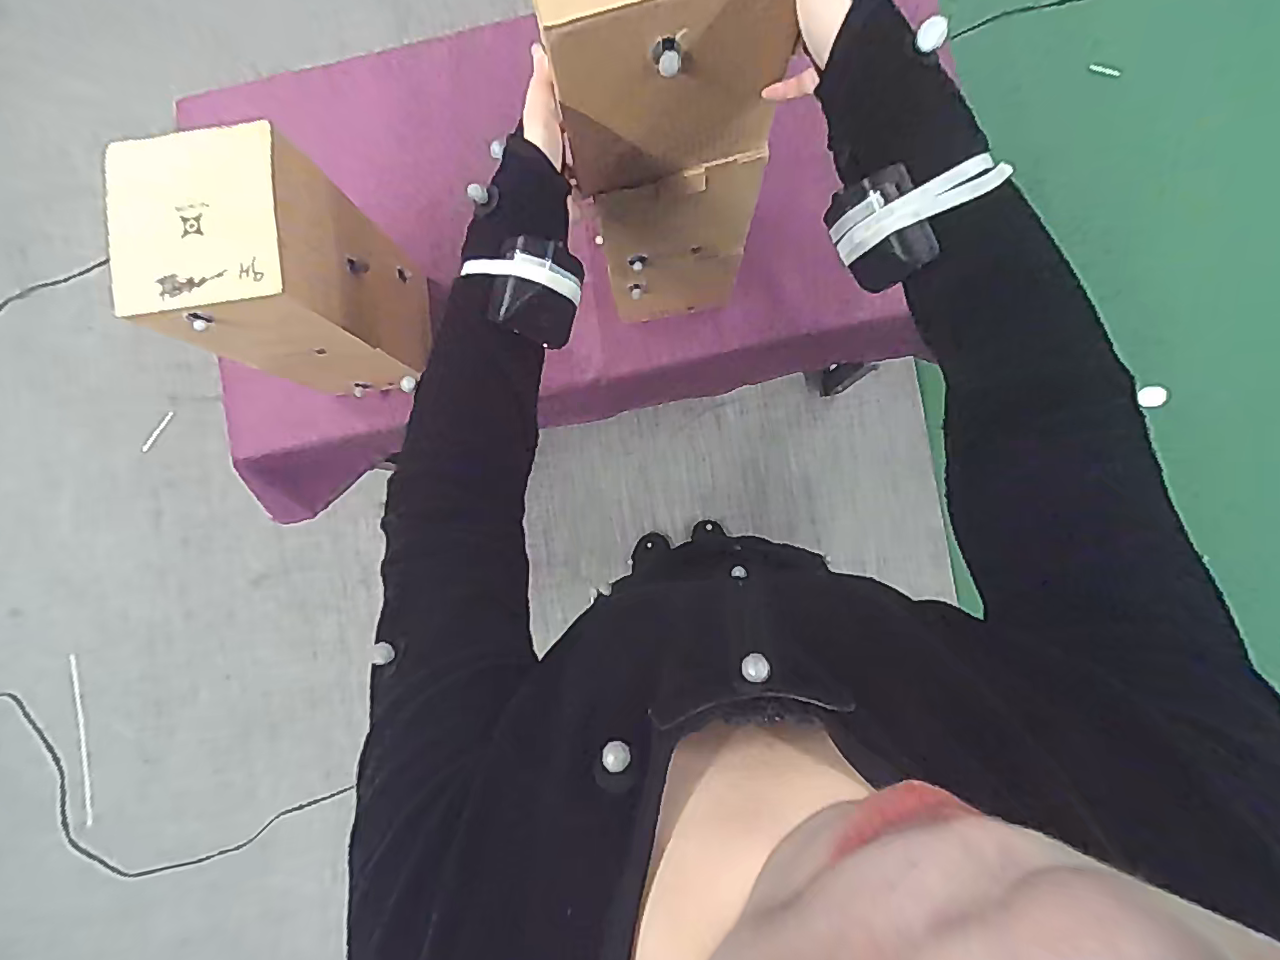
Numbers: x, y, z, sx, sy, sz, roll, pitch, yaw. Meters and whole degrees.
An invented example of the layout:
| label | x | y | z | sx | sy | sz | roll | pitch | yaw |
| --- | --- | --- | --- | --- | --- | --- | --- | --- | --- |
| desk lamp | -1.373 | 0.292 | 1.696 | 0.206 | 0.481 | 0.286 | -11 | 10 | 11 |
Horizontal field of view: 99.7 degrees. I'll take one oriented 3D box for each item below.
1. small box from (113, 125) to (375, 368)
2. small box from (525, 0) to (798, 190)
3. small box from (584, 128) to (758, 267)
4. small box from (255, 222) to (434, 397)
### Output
| label | x | y | z | sx | sy | sz | roll | pitch | yaw |
| --- | --- | --- | --- | --- | --- | --- | --- | --- | --- |
| small box | -0.417 | -0.240 | 0.595 | 0.168 | 0.176 | 0.179 | -7 | 84 | 4 |
| small box | 0.005 | -0.365 | 0.419 | 0.179 | 0.176 | 0.168 | -14 | 85 | 3 |
| small box | 0.019 | -0.351 | 0.580 | 0.168 | 0.176 | 0.179 | -13 | 84 | 2 |
| small box | -0.407 | -0.228 | 0.759 | 0.168 | 0.176 | 0.179 | -7 | 86 | 3 |
